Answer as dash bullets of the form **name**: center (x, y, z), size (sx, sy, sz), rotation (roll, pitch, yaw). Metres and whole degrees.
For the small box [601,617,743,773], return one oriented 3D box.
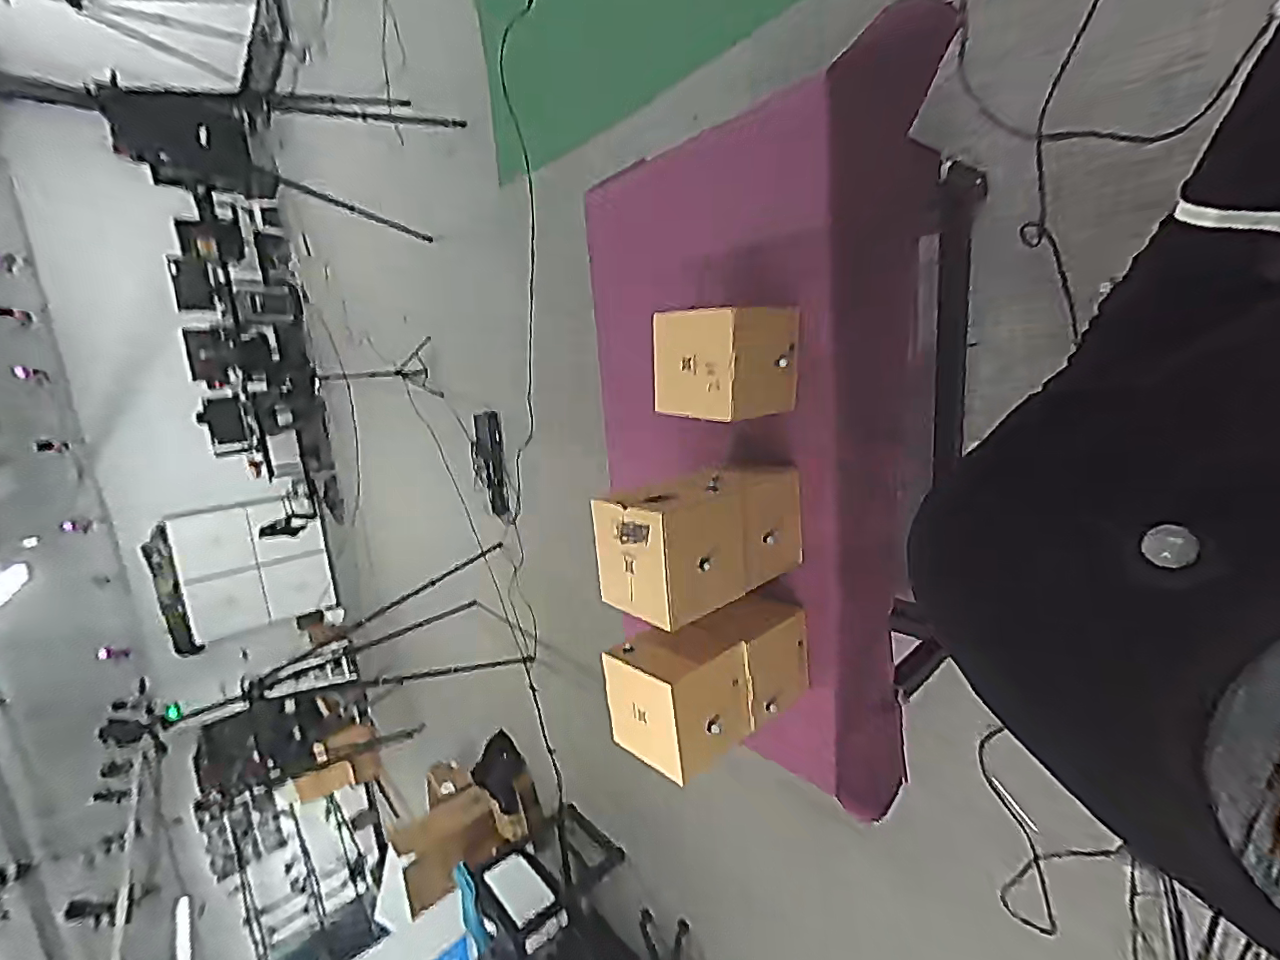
- **small box**: center (0.060, 0.348, 0.920), size (0.179, 0.176, 0.168), rotation (3, 103, 52)

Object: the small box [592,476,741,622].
- **small box**: center (0.045, 0.095, 0.860), size (0.168, 0.176, 0.179), rotation (10, 109, 50)

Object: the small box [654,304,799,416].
- **small box**: center (0.141, -0.206, 0.913), size (0.179, 0.176, 0.168), rotation (16, 114, 48)

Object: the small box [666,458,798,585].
- **small box**: center (0.167, 0.064, 0.966), size (0.168, 0.176, 0.179), rotation (7, 106, 49)
